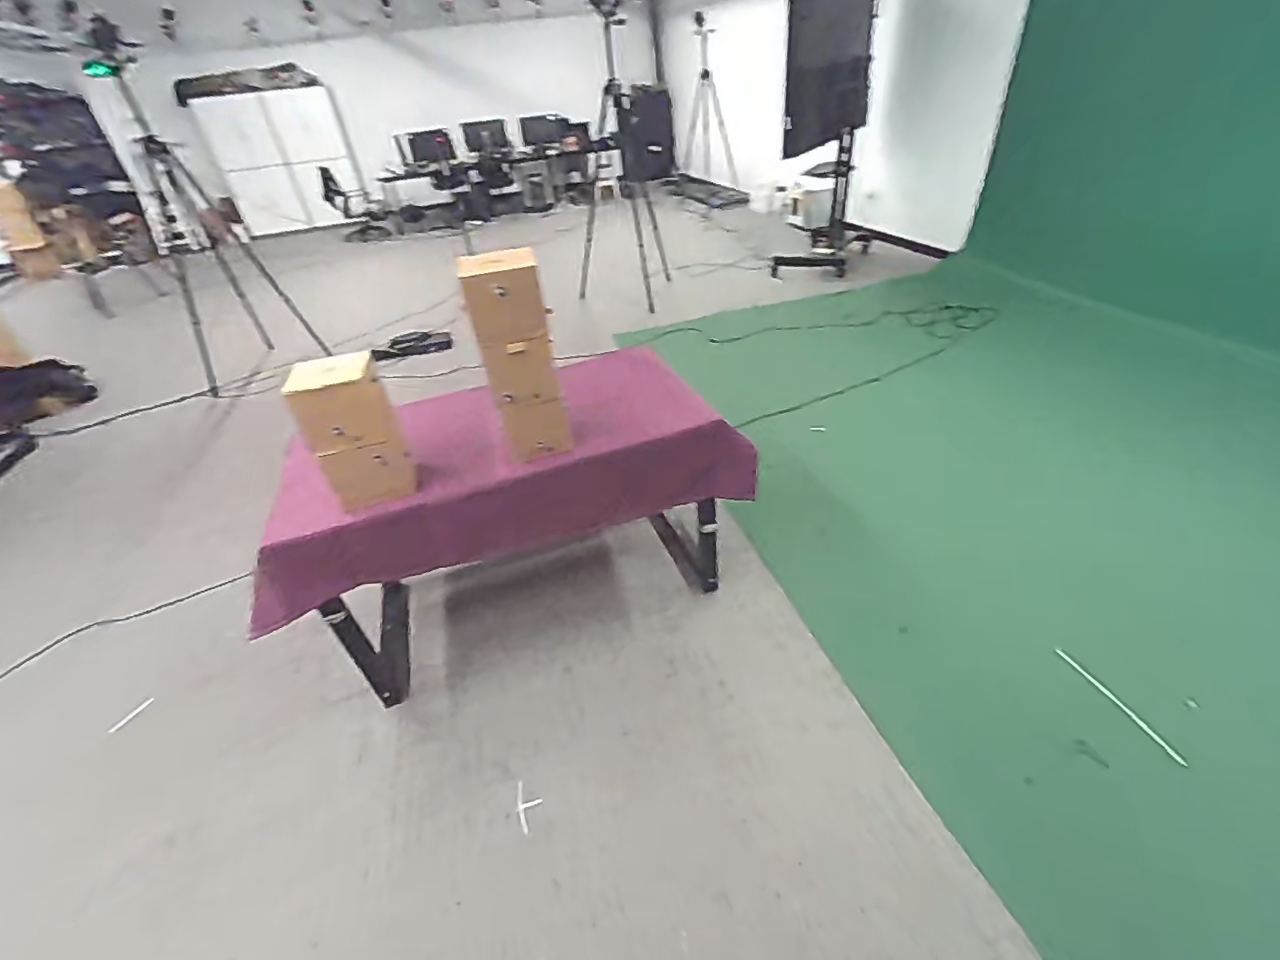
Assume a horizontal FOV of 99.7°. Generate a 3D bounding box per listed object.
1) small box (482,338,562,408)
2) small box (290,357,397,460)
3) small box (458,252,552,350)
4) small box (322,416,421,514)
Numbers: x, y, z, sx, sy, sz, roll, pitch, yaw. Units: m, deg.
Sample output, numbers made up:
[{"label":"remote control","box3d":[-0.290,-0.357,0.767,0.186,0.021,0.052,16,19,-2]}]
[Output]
[{"label":"small box","box3d":[-0.303,-0.296,1.389,0.168,0.176,0.179,-14,36,-8]},{"label":"small box","box3d":[-0.700,-0.173,1.300,0.168,0.176,0.179,-15,37,-10]},{"label":"small box","box3d":[-0.318,-0.423,1.288,0.179,0.176,0.168,-13,38,-7]},{"label":"small box","box3d":[-0.677,-0.038,1.389,0.179,0.176,0.168,-15,36,-10]}]
